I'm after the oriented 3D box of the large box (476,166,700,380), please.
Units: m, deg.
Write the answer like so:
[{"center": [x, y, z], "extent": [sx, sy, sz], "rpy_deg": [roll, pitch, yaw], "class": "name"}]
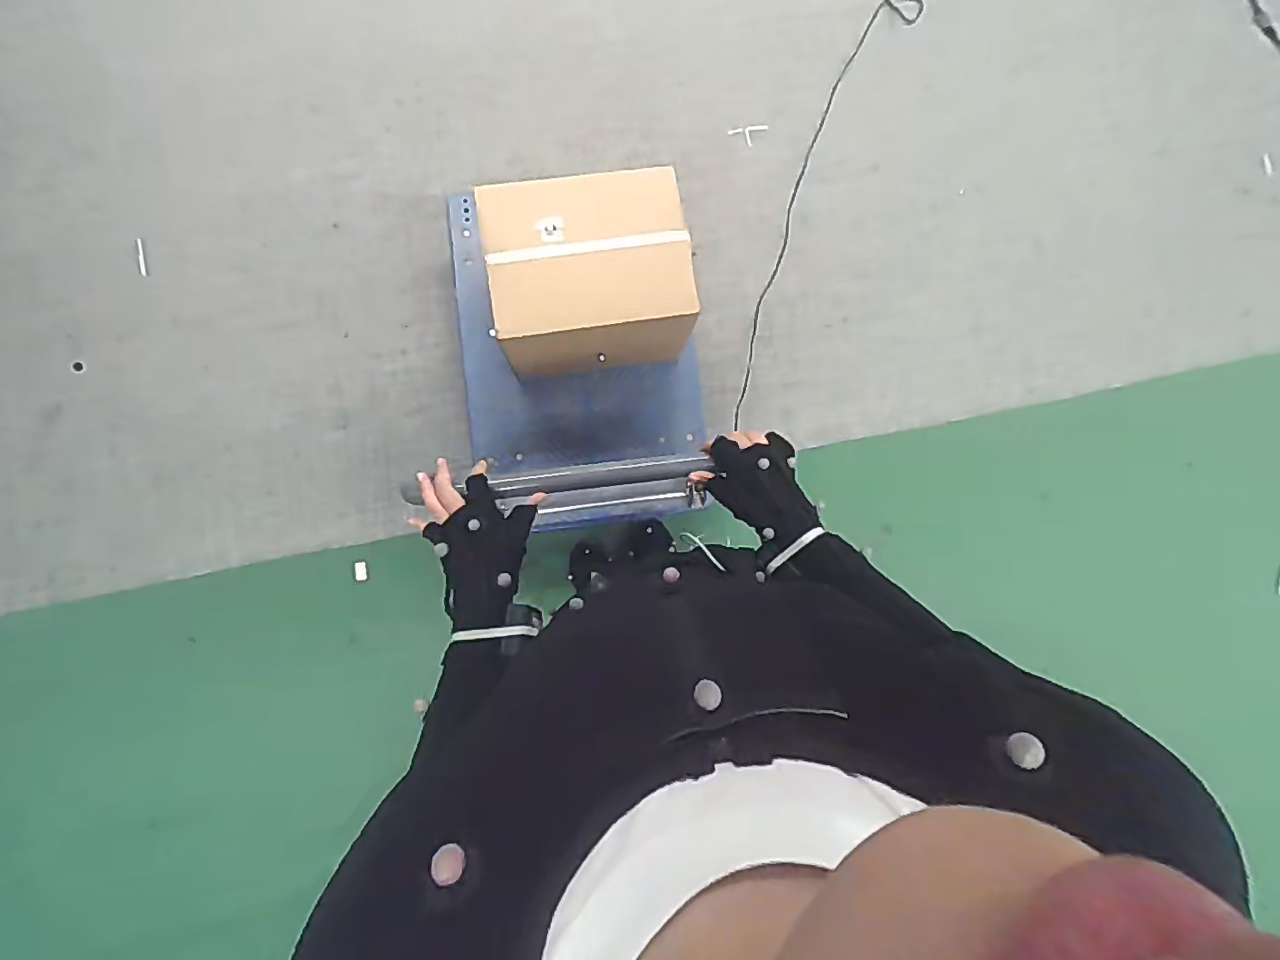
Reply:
[{"center": [-0.111, -0.437, 1.209], "extent": [0.408, 0.320, 0.320], "rpy_deg": [-9, 85, -5], "class": "large box"}]
